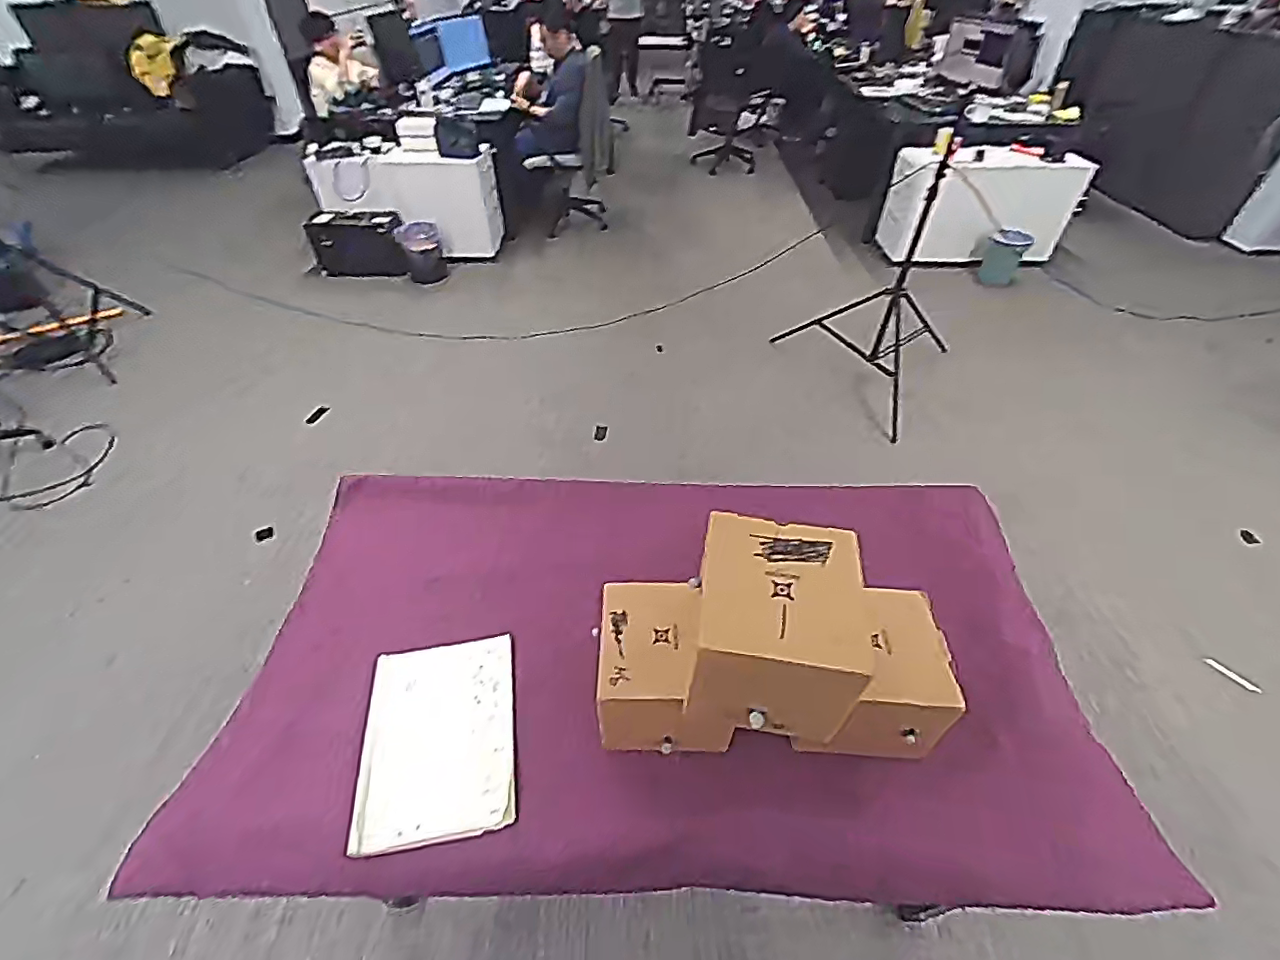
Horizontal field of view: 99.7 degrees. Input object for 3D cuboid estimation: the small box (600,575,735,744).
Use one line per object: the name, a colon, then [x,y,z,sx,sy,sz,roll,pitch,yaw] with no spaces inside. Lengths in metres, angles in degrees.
small box: [0.040,0.249,0.747,0.179,0.176,0.168,1,44,0]

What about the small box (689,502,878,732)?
small box: [0.149,0.153,0.610,0.168,0.176,0.179,7,46,7]

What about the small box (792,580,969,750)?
small box: [0.305,0.254,0.742,0.179,0.176,0.168,2,43,5]
